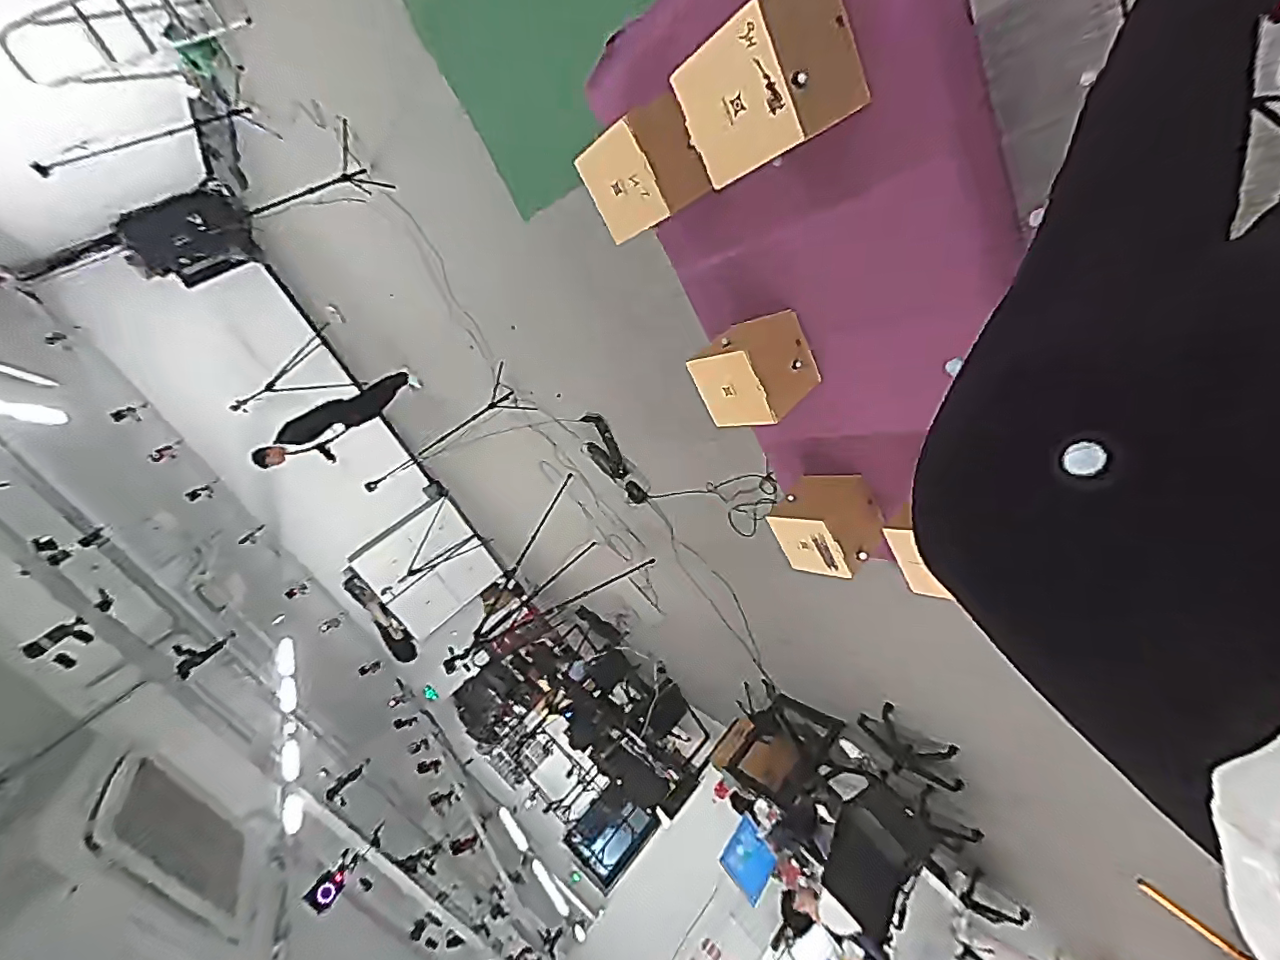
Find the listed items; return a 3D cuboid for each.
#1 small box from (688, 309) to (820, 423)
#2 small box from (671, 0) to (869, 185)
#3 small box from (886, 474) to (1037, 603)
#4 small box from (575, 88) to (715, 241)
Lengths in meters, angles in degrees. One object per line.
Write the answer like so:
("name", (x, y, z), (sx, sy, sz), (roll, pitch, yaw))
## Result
("small box", (0.241, -0.235, 1.133), (0.179, 0.176, 0.168), (3, 129, 55))
("small box", (0.183, -0.558, 0.761), (0.179, 0.176, 0.168), (8, 135, 57))
("small box", (0.607, 0.100, 1.012), (0.168, 0.176, 0.179), (57, 155, -17))
("small box", (0.019, -0.576, 0.994), (0.179, 0.176, 0.168), (5, 133, 55))
